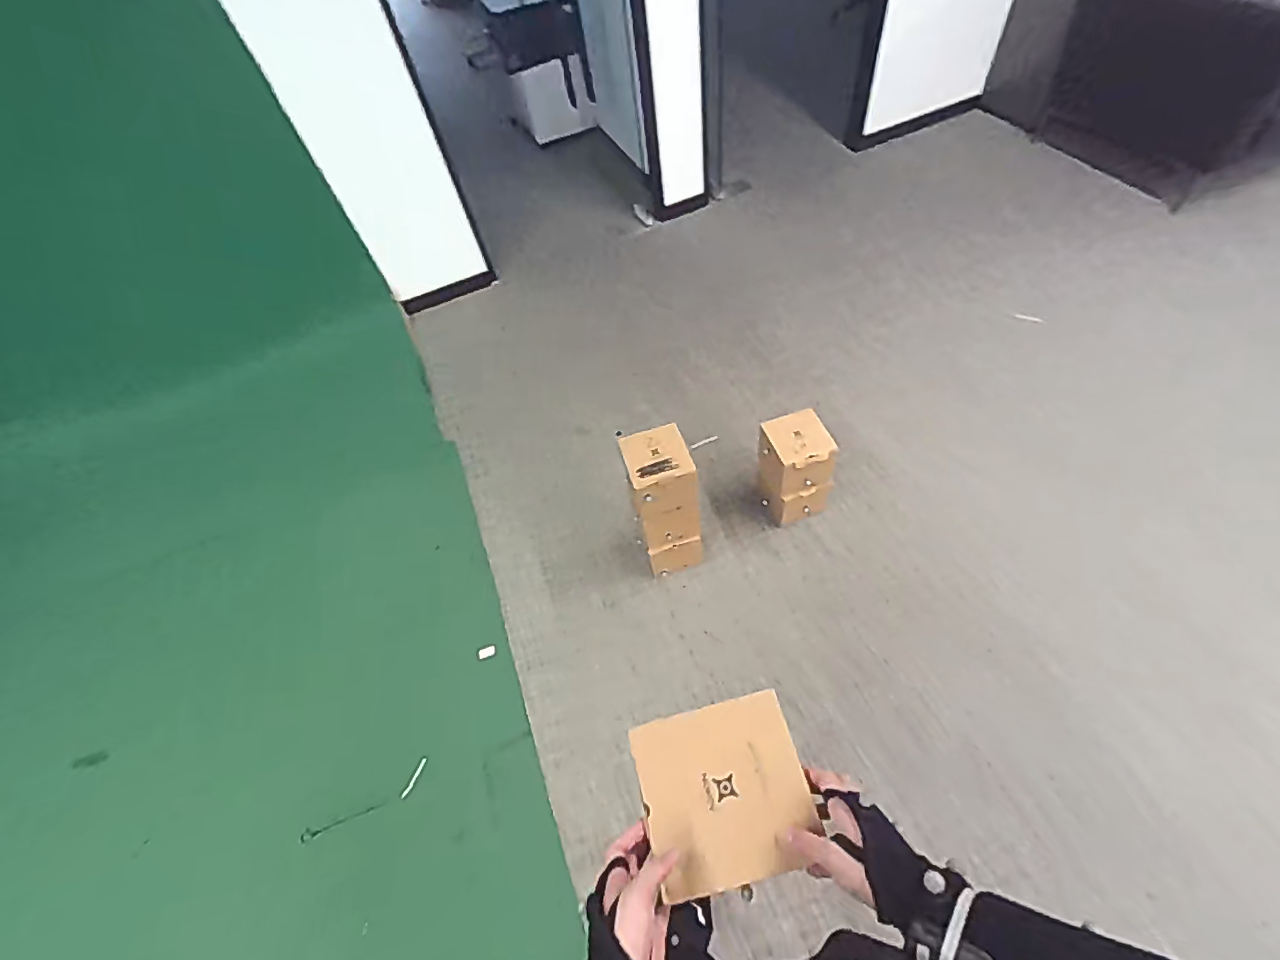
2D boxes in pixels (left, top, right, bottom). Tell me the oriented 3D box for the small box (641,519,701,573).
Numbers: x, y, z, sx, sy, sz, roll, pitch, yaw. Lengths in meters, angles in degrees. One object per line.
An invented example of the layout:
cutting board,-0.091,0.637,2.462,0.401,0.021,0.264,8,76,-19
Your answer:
small box,0.089,0.176,1.718,0.168,0.176,0.179,-18,54,-4

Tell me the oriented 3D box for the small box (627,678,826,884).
small box,0.097,0.354,0.634,0.179,0.176,0.168,-15,55,1

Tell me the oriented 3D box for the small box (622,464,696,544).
small box,0.062,0.075,1.603,0.179,0.176,0.168,8,59,14

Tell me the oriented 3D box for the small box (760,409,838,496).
small box,0.472,-0.080,1.637,0.168,0.176,0.179,-17,55,-2

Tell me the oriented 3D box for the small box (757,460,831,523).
small box,0.495,0.021,1.765,0.168,0.176,0.179,-20,56,-6
